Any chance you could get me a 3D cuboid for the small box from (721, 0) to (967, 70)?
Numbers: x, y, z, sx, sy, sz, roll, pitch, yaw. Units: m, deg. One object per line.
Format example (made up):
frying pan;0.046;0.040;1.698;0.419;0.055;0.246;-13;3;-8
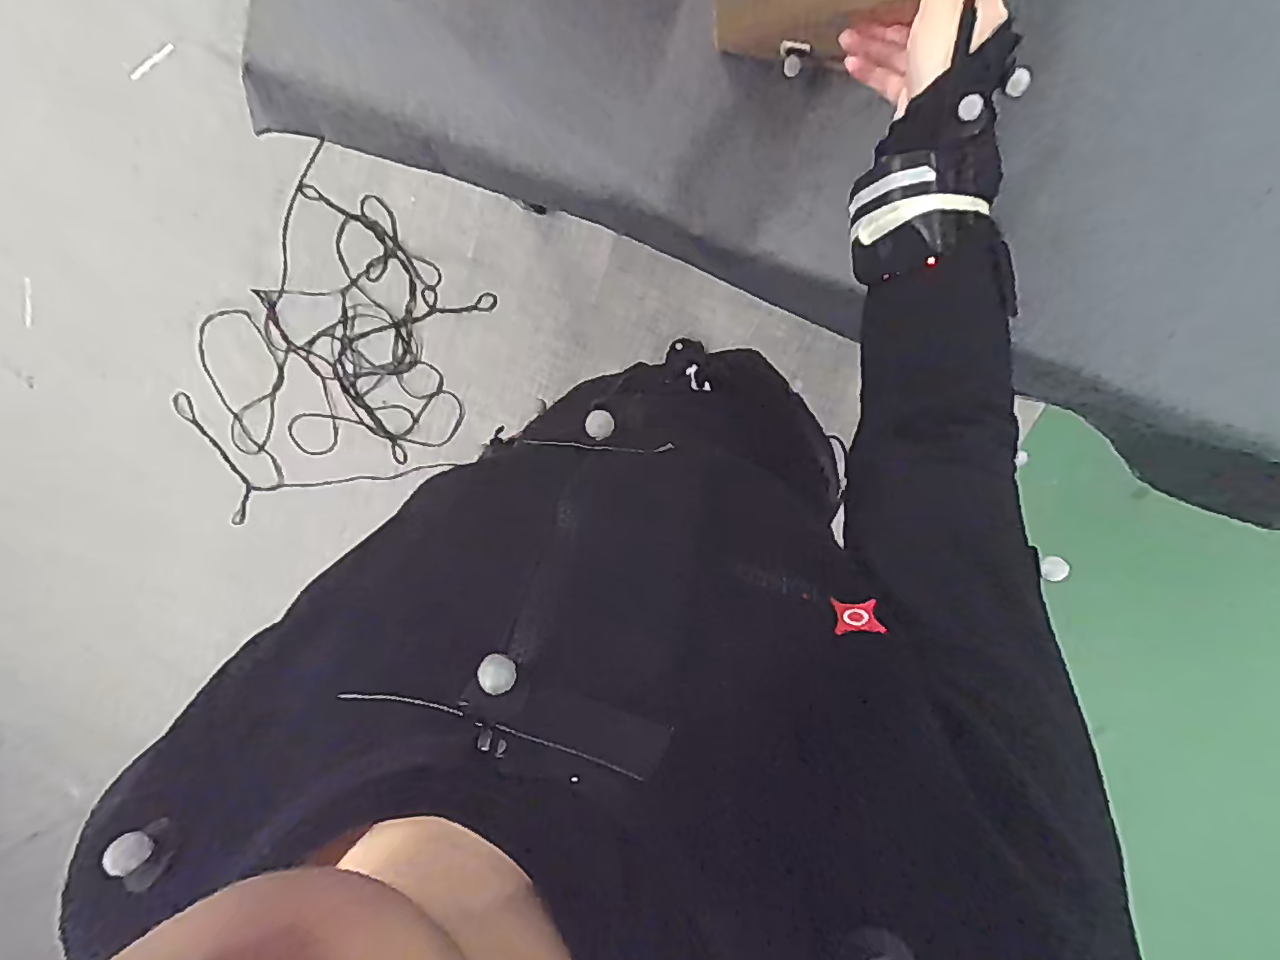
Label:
small box;0.149;-0.420;0.372;0.168;0.176;0.179;11;115;6
